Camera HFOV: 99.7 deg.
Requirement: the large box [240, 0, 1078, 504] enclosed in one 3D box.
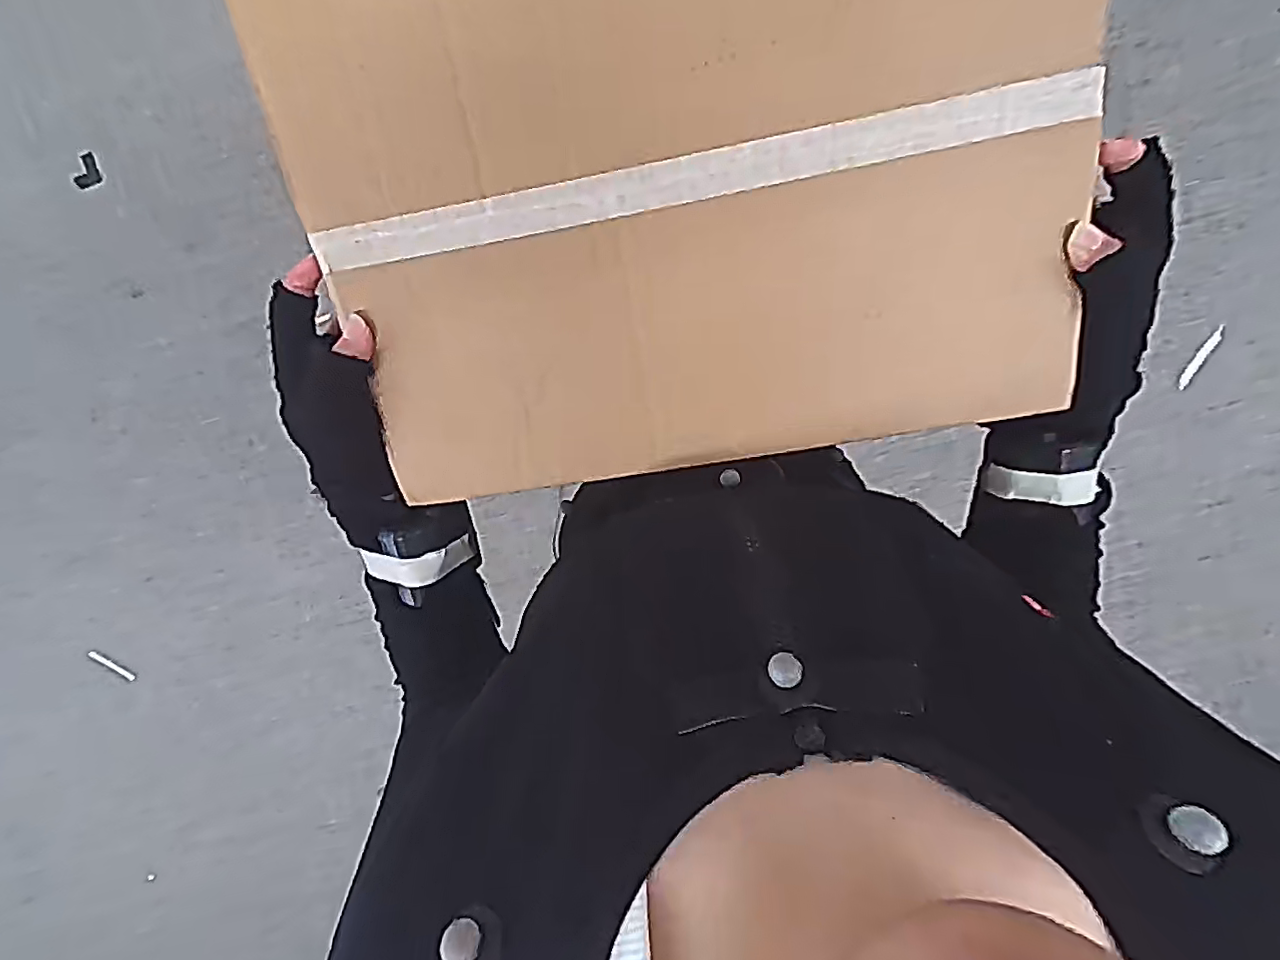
[{"bbox_3d":[0.026,-0.209,0.430,0.408,0.320,0.320,-8,110,5],"label":"large box"}]
